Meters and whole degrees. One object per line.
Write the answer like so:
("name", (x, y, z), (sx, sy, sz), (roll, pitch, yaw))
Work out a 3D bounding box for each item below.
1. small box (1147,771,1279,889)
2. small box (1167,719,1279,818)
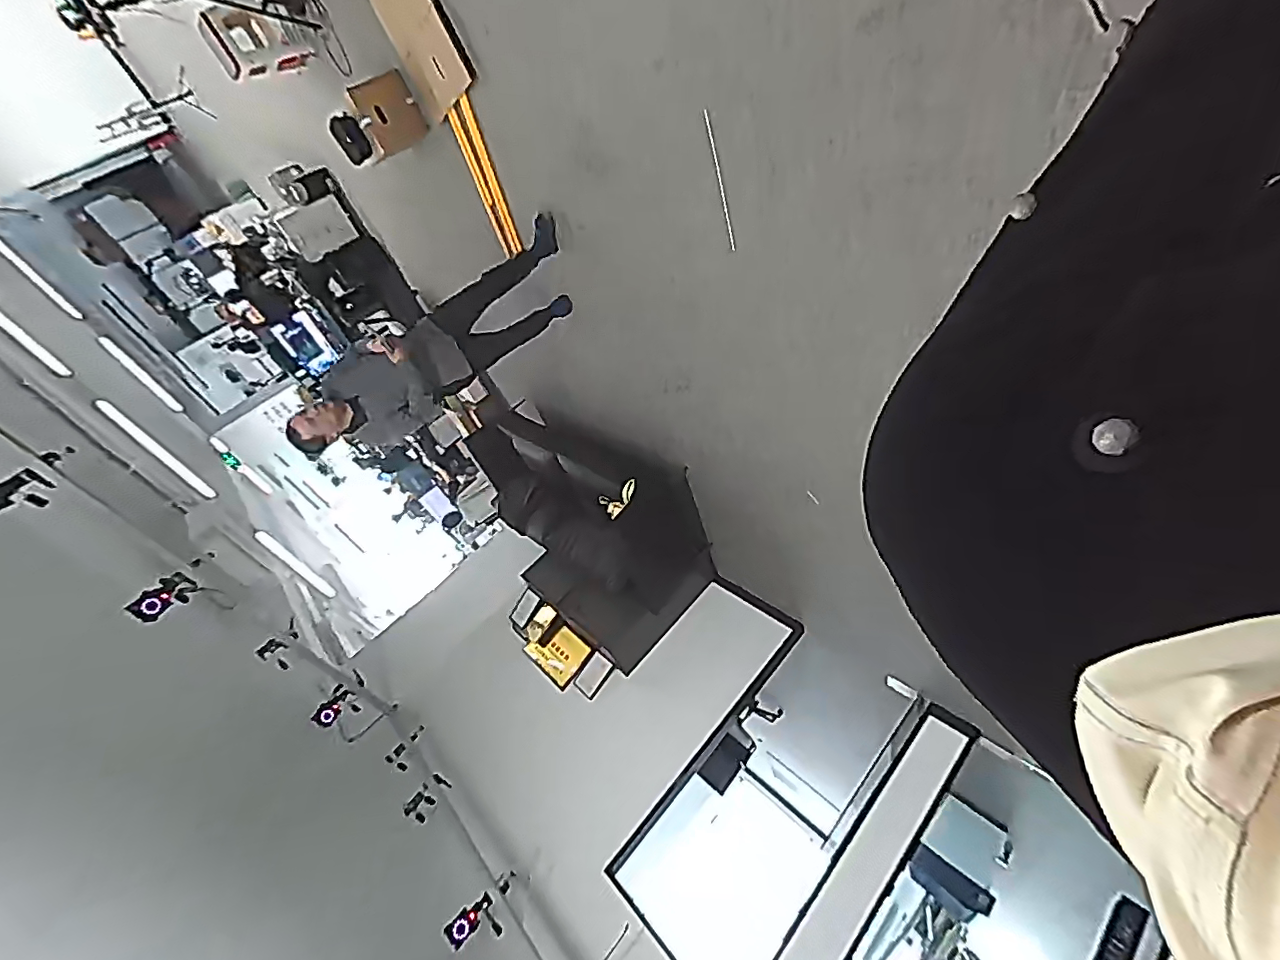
("small box", (1.433, 0.872, 1.355), (0.168, 0.176, 0.179), (28, 152, 37))
("small box", (1.543, 0.767, 1.415), (0.168, 0.176, 0.179), (27, 152, 39))
